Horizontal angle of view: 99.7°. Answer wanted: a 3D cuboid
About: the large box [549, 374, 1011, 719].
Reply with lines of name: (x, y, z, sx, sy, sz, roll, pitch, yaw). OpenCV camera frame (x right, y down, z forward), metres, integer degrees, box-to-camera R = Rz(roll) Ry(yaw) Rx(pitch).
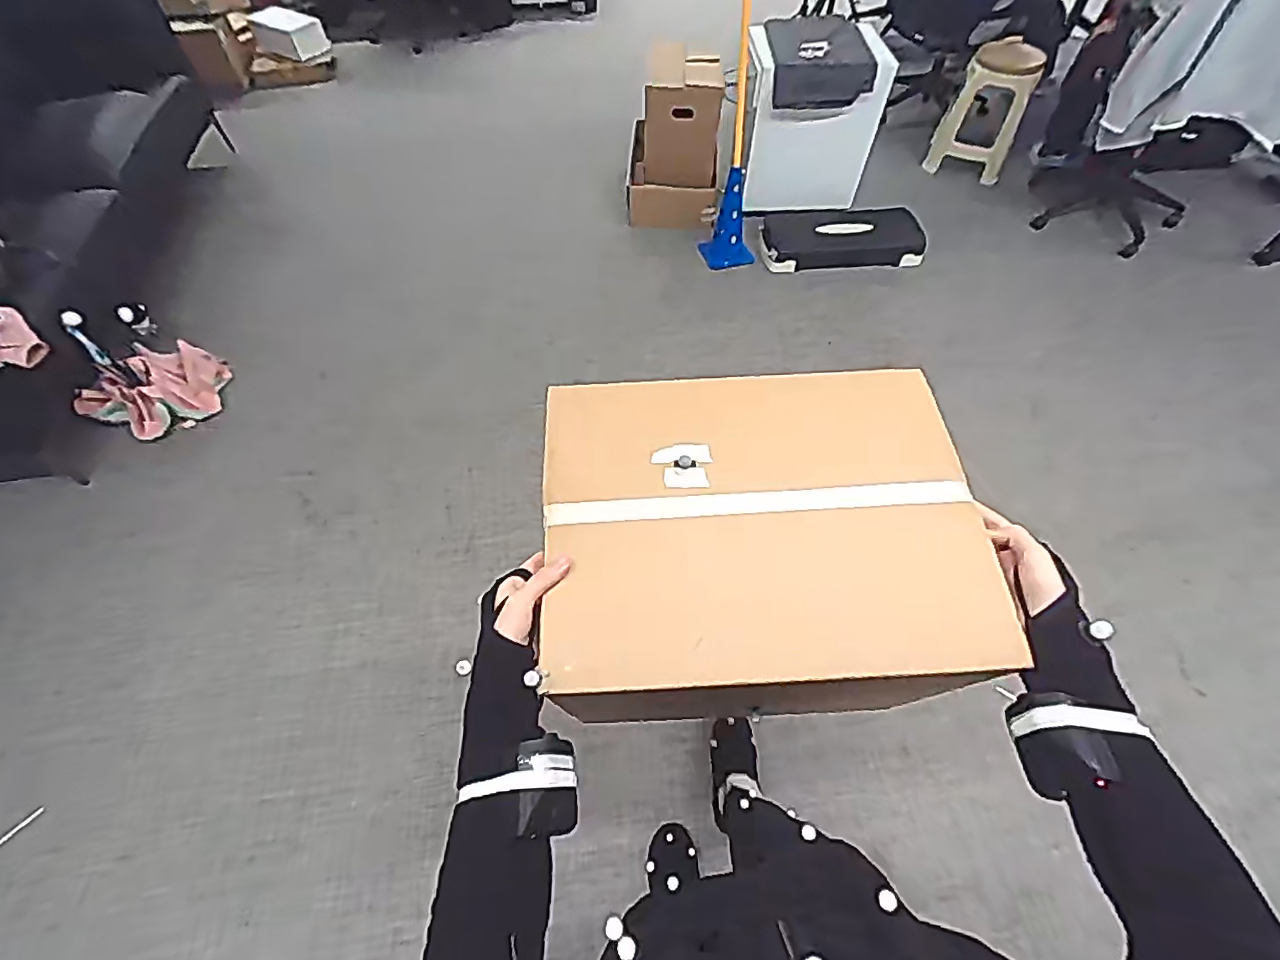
large box: (0.119, 0.102, 0.660, 0.408, 0.320, 0.320, -4, 61, 1)
